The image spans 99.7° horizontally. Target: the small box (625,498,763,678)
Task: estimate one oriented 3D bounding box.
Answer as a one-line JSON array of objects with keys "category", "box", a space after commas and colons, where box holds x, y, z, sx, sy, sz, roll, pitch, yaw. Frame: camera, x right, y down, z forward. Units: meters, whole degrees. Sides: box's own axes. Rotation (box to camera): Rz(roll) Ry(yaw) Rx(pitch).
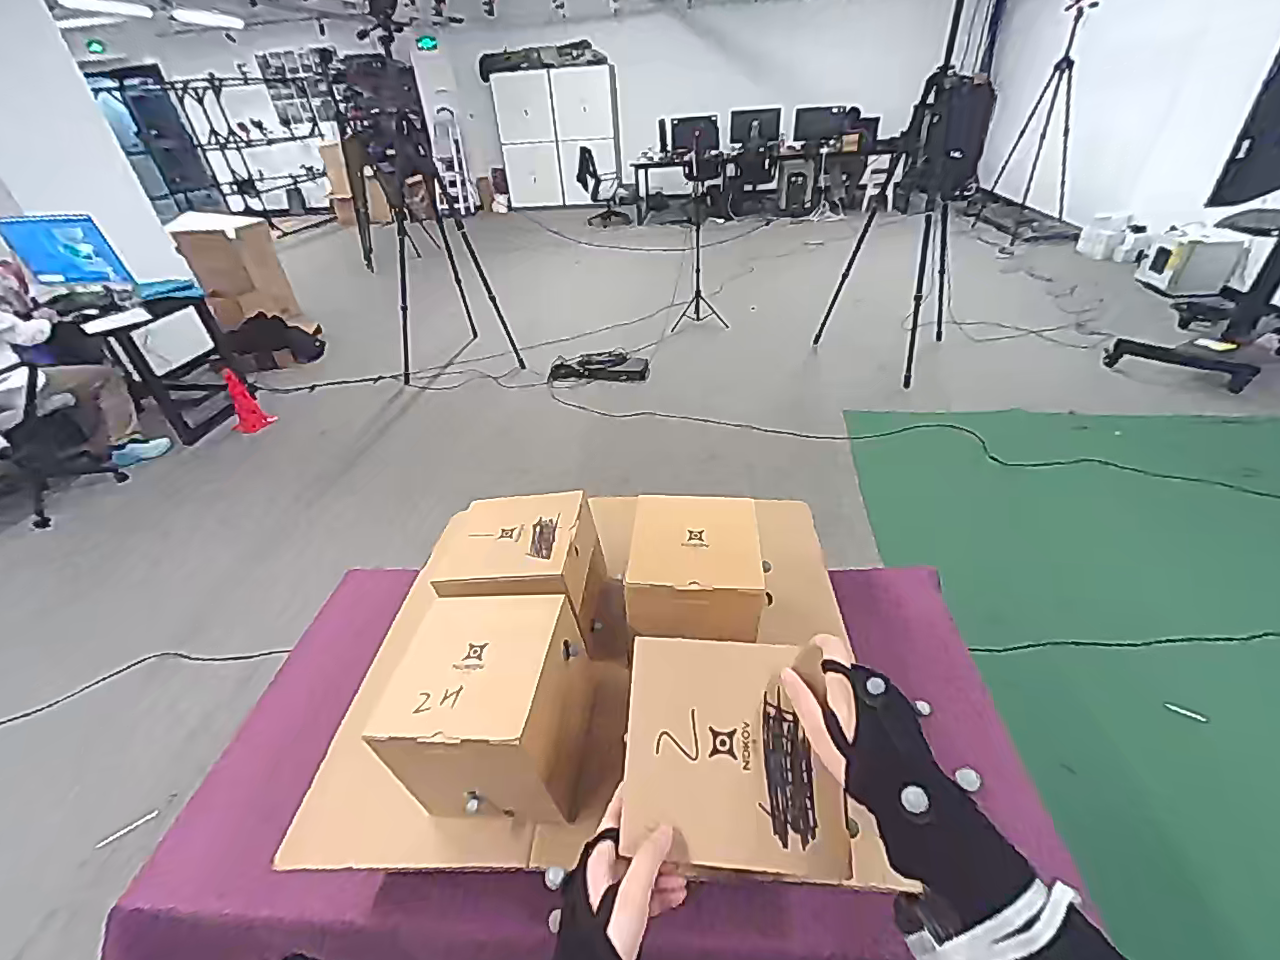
[{"category": "small box", "box": [0.072, 0.145, 0.748, 0.168, 0.176, 0.179, 1, 37, 5]}]
